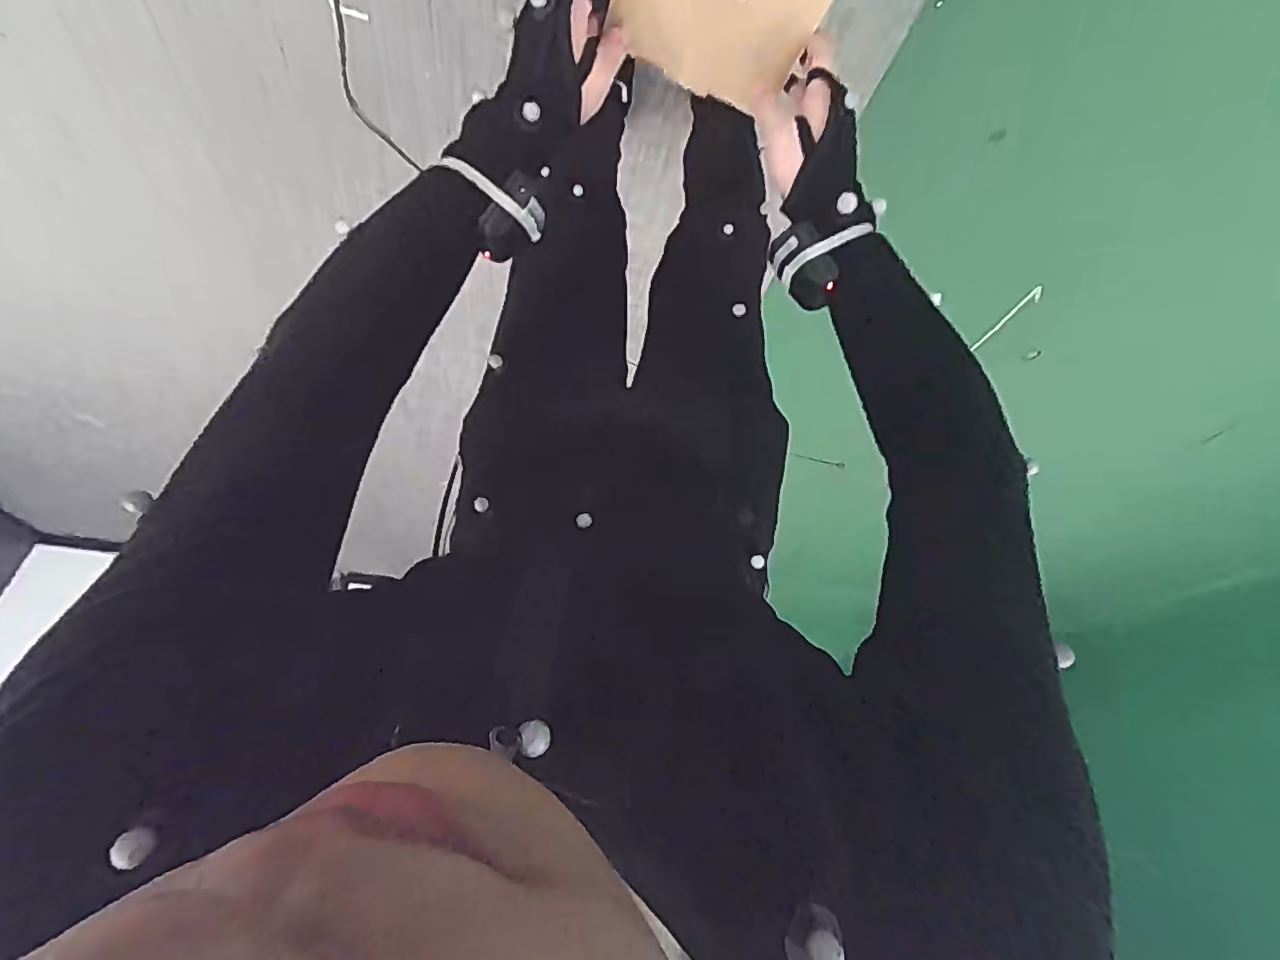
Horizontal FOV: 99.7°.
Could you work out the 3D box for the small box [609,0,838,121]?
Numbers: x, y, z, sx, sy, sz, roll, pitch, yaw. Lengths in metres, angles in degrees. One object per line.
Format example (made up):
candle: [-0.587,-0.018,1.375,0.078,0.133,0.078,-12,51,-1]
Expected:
small box: [0.088,-0.470,0.463,0.168,0.176,0.179,17,152,-16]
